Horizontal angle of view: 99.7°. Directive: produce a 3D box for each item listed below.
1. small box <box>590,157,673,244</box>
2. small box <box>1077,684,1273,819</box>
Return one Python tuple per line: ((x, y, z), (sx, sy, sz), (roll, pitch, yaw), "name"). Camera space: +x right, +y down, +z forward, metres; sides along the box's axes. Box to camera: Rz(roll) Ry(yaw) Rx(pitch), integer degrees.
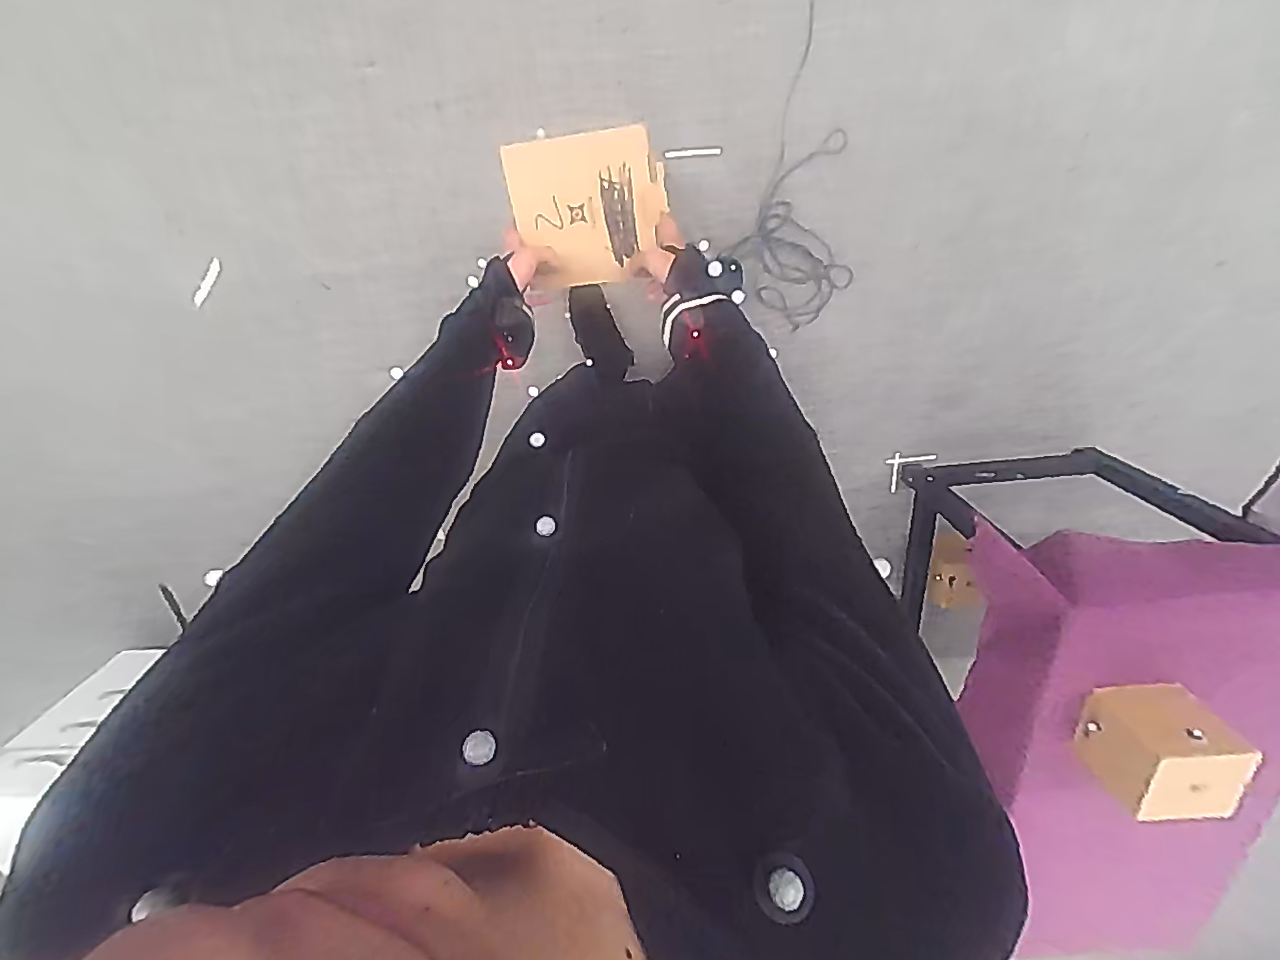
((-0.016, -0.660, 1.291), (0.179, 0.176, 0.168), (-5, 115, 3), "small box")
((0.994, 0.507, 1.025), (0.179, 0.176, 0.168), (-4, 115, 3), "small box")
